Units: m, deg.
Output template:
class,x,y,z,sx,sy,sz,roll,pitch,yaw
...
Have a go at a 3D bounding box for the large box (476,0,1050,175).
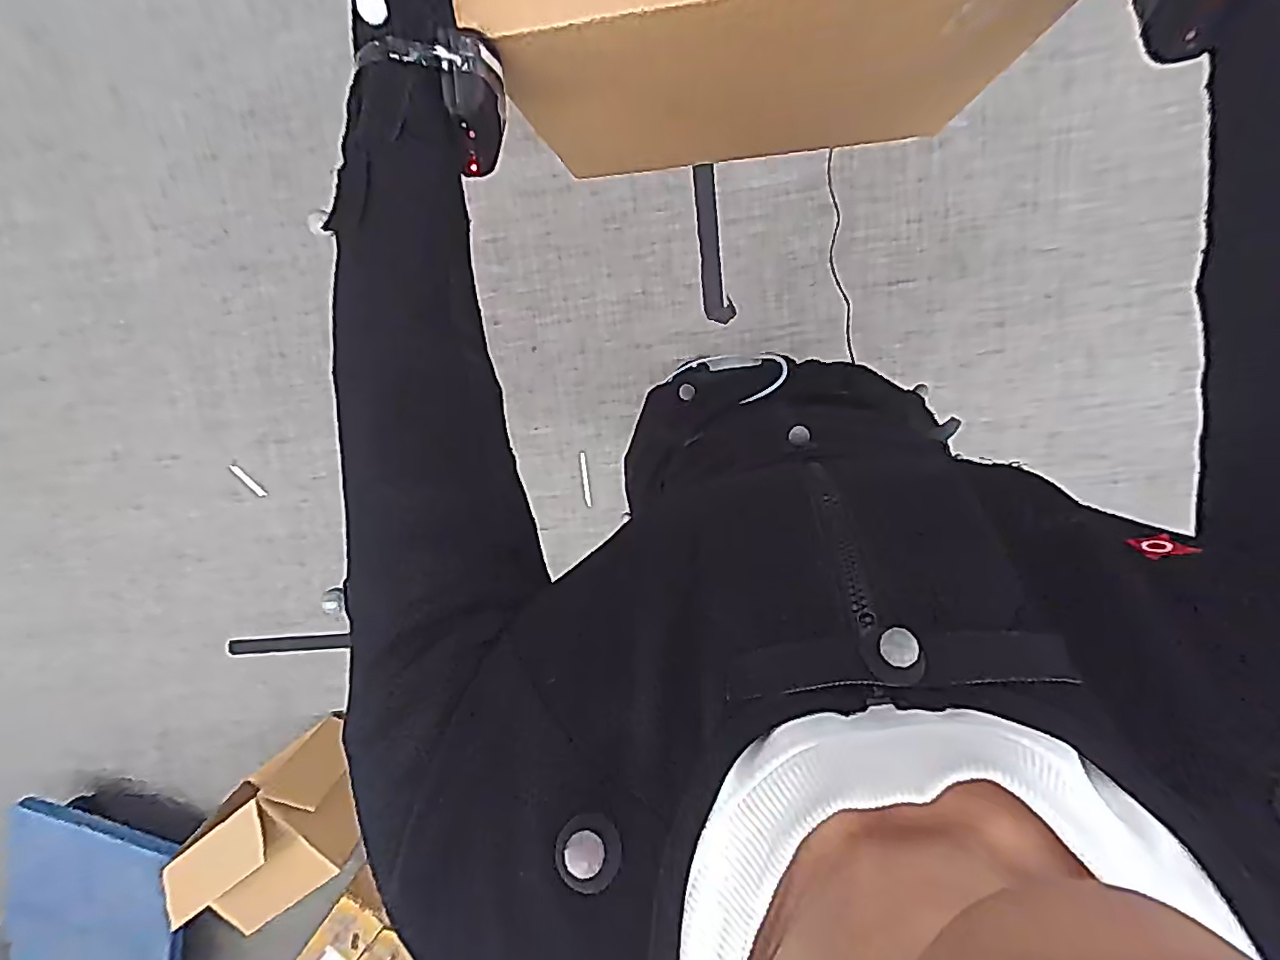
class,x,y,z,sx,sy,sz,roll,pitch,yaw
large box,0.090,-0.484,0.436,0.408,0.320,0.320,-4,104,7
